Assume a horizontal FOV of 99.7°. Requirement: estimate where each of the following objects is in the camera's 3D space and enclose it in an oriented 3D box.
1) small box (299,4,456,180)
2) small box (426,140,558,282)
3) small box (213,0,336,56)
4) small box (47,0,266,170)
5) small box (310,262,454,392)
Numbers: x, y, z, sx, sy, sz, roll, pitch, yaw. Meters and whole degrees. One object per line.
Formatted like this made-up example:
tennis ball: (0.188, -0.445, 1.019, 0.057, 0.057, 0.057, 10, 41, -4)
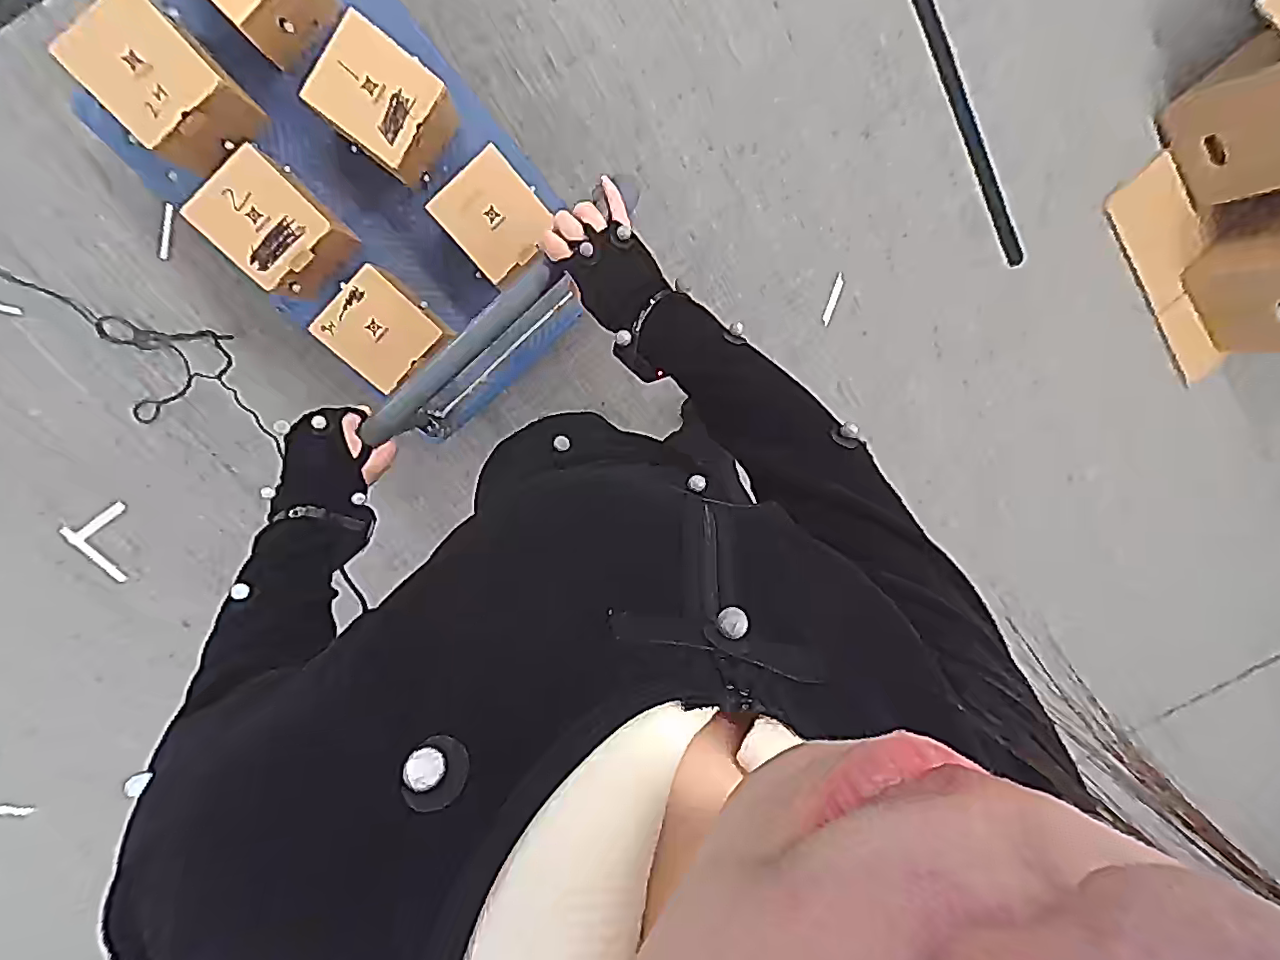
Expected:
small box: (-0.455, -0.673, 0.971, 0.179, 0.176, 0.168, 34, 97, -16)
small box: (-0.276, -0.505, 1.051, 0.168, 0.176, 0.179, -42, 107, 2)
small box: (-0.646, -0.850, 0.889, 0.168, 0.176, 0.179, -45, 107, 4)
small box: (-0.792, -0.667, 0.910, 0.168, 0.176, 0.179, -41, 109, 2)
small box: (-0.492, -0.299, 1.066, 0.179, 0.176, 0.168, 43, 93, -18)
